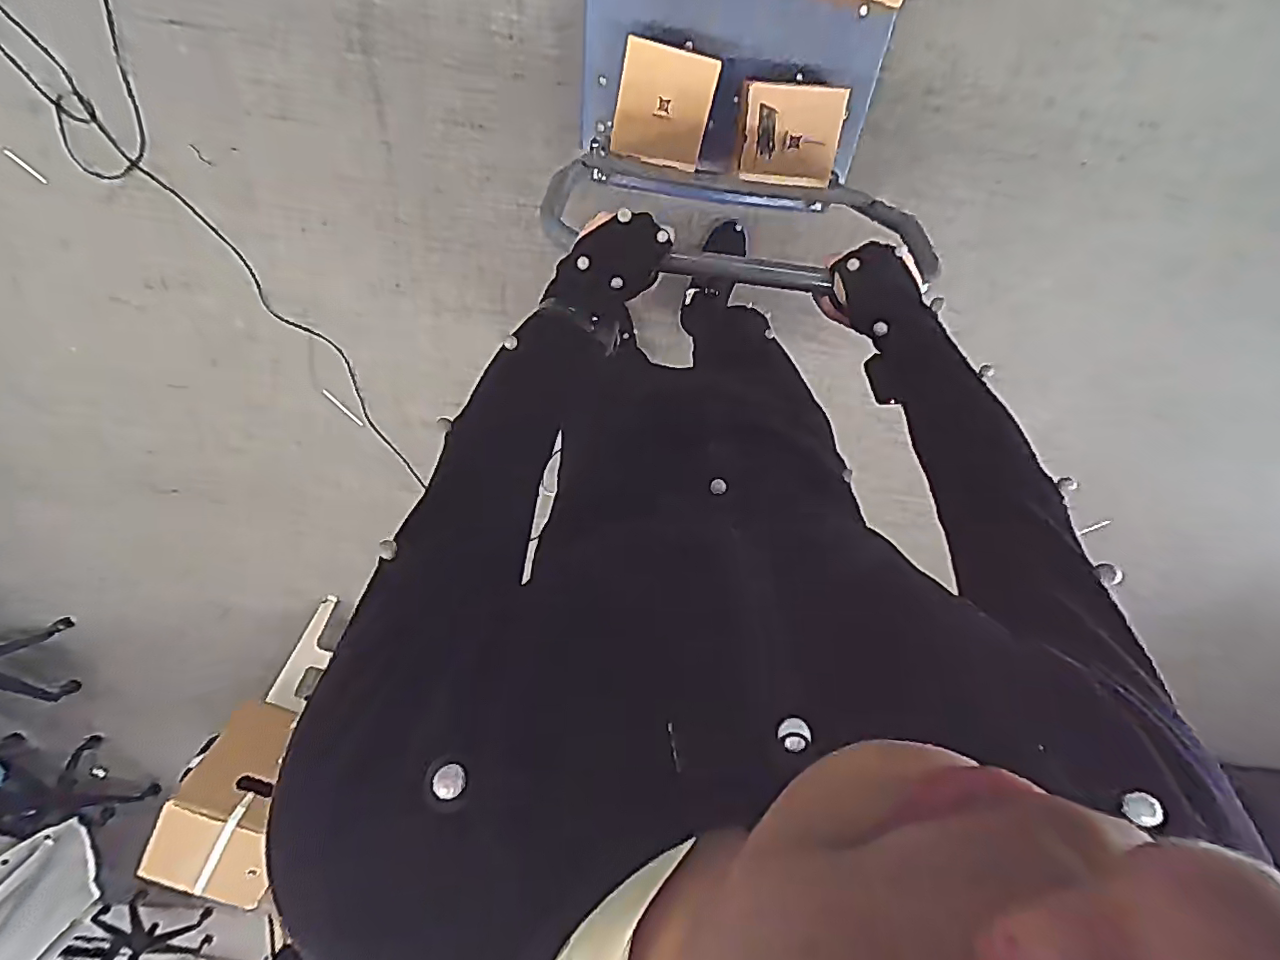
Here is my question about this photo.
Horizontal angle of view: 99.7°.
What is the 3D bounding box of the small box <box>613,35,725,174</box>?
[{"bbox_3d":[0.050,-0.712,1.025,0.168,0.176,0.179,12,129,-6],"label":"small box"}]
